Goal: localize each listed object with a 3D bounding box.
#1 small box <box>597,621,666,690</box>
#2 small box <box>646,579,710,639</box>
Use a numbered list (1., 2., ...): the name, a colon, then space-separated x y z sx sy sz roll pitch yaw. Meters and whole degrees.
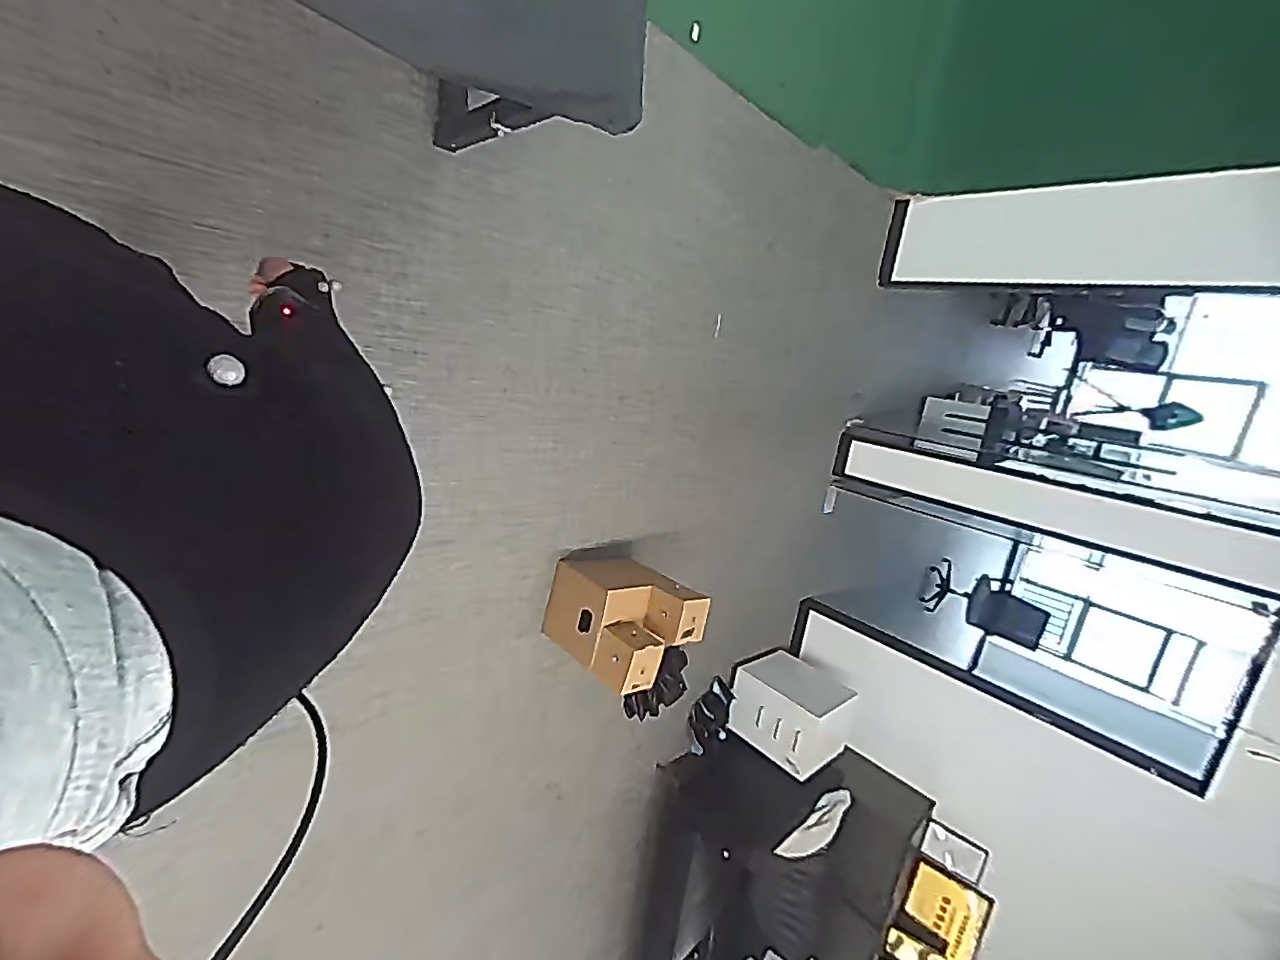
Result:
1. small box: -0.035 0.629 1.966 0.168 0.176 0.179 6 101 -48
2. small box: 0.145 0.497 2.106 0.168 0.176 0.179 6 97 -47
